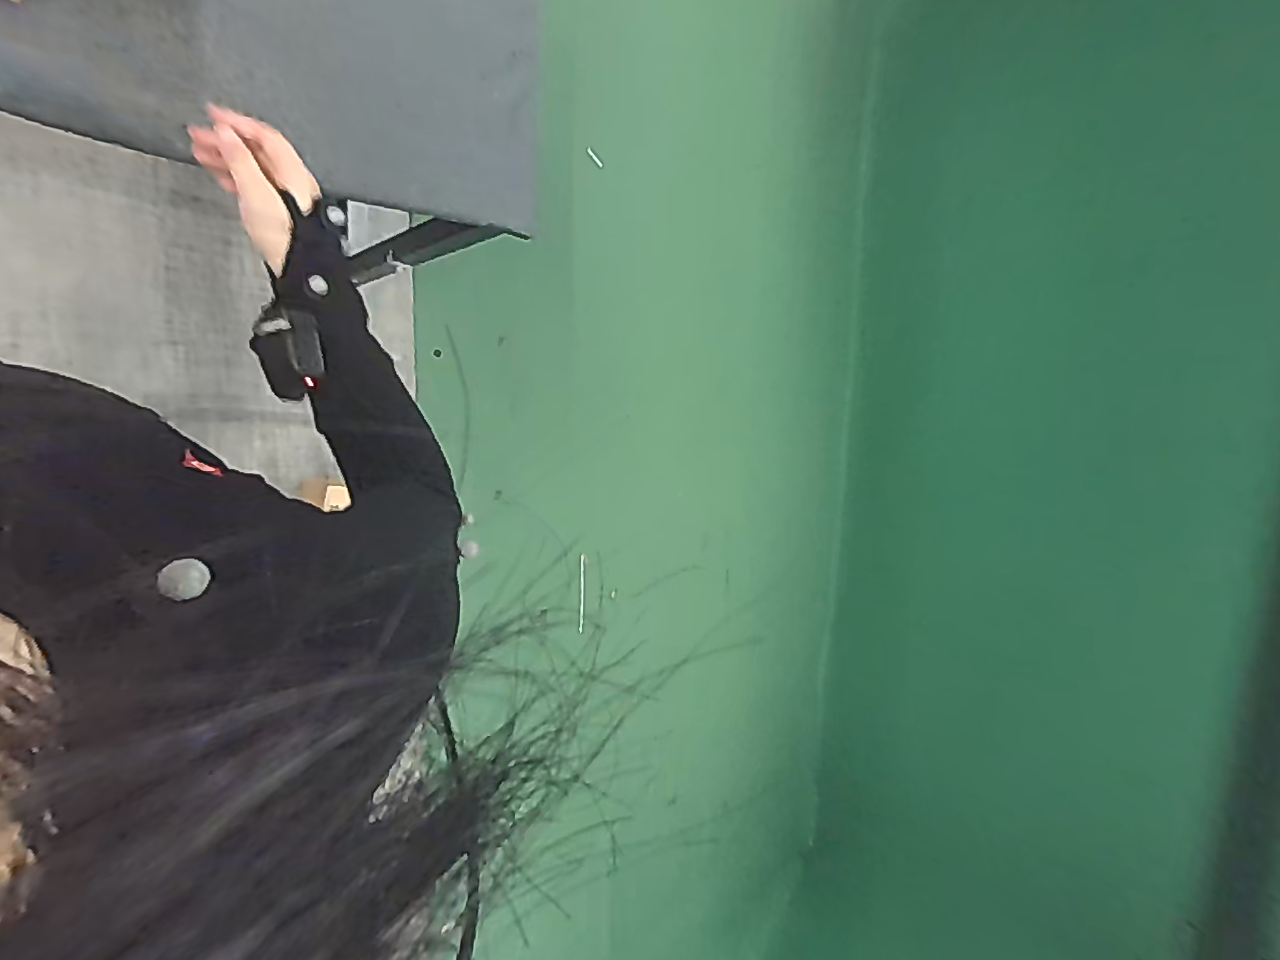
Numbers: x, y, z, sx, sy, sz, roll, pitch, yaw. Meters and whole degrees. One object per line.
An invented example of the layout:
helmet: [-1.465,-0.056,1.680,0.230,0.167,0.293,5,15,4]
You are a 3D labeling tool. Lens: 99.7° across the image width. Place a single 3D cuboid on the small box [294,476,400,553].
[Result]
small box: [-0.737,0.085,1.360,0.179,0.176,0.168,9,90,-48]
